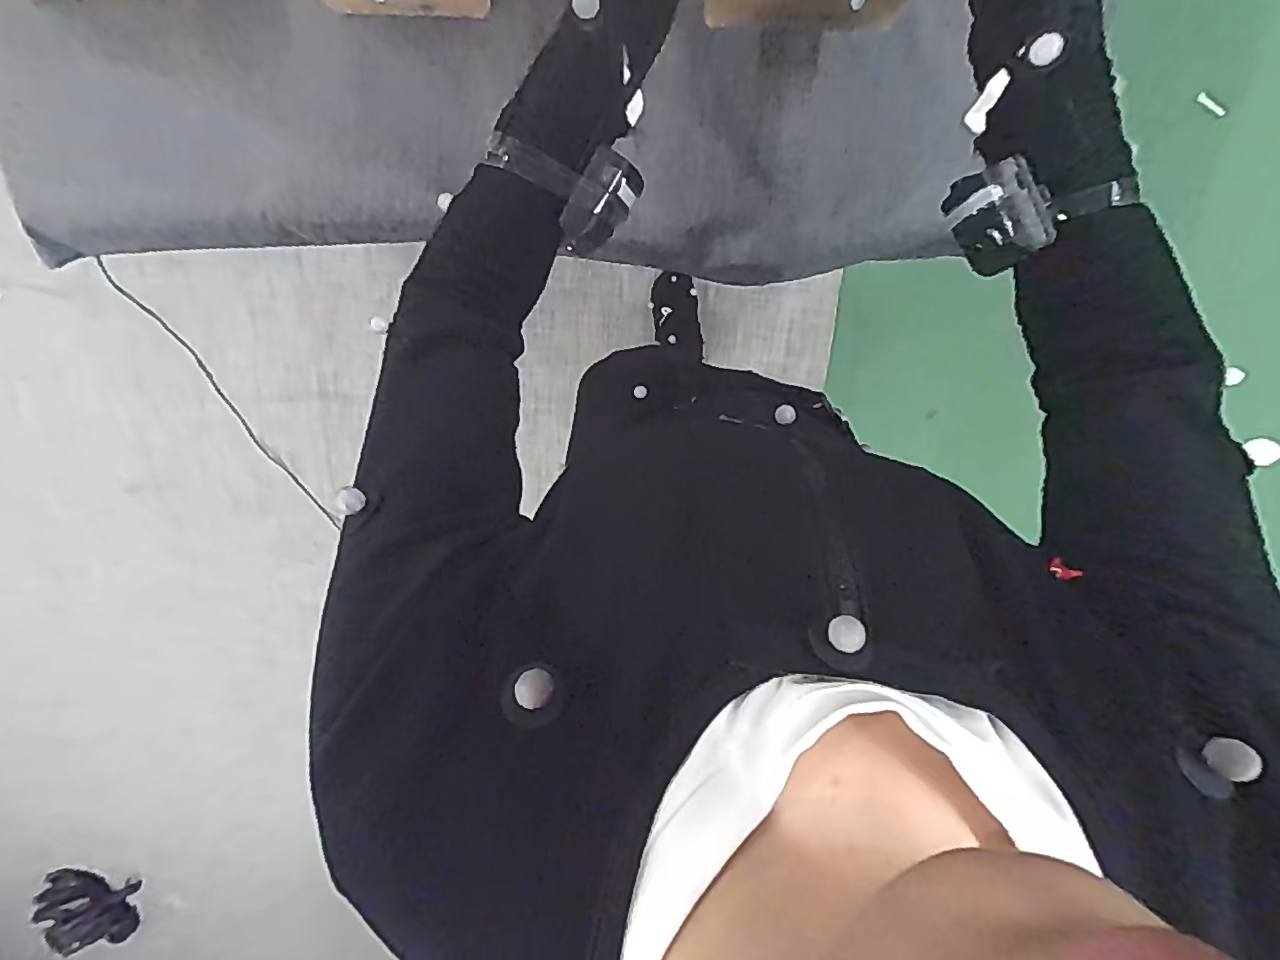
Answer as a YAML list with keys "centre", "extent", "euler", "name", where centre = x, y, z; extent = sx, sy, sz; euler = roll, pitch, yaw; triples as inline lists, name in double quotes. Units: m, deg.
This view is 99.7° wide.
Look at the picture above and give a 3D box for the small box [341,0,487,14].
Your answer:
- centre: [-0.234, -0.531, 0.454]
  extent: [0.168, 0.176, 0.179]
  euler: [3, 112, 2]
  name: "small box"
